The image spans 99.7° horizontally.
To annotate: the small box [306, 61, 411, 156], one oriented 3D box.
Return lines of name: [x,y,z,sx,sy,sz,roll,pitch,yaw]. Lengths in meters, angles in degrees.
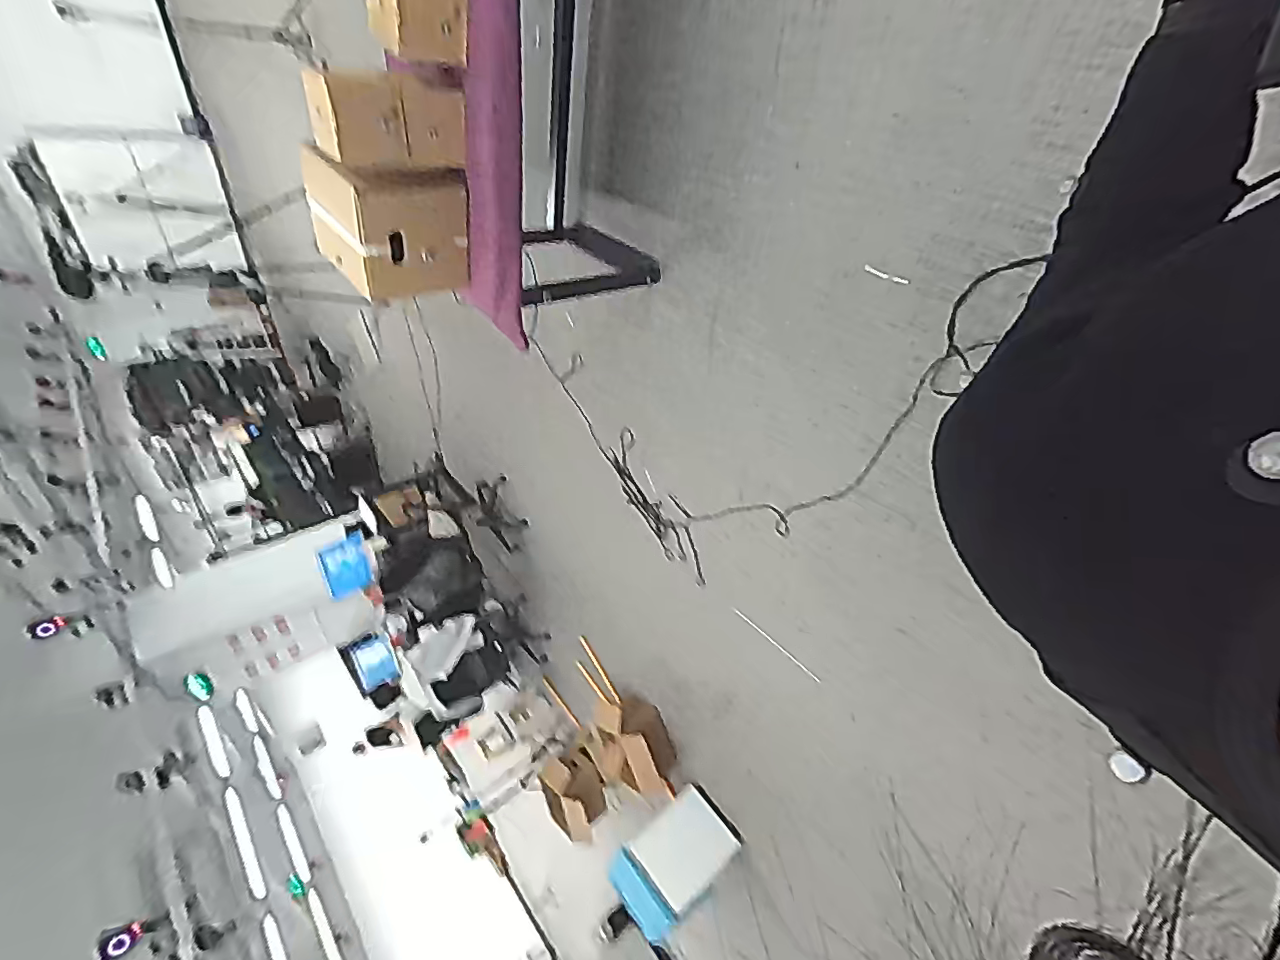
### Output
small box: [-0.688,-0.911,1.334,0.179,0.176,0.168,40,139,31]
